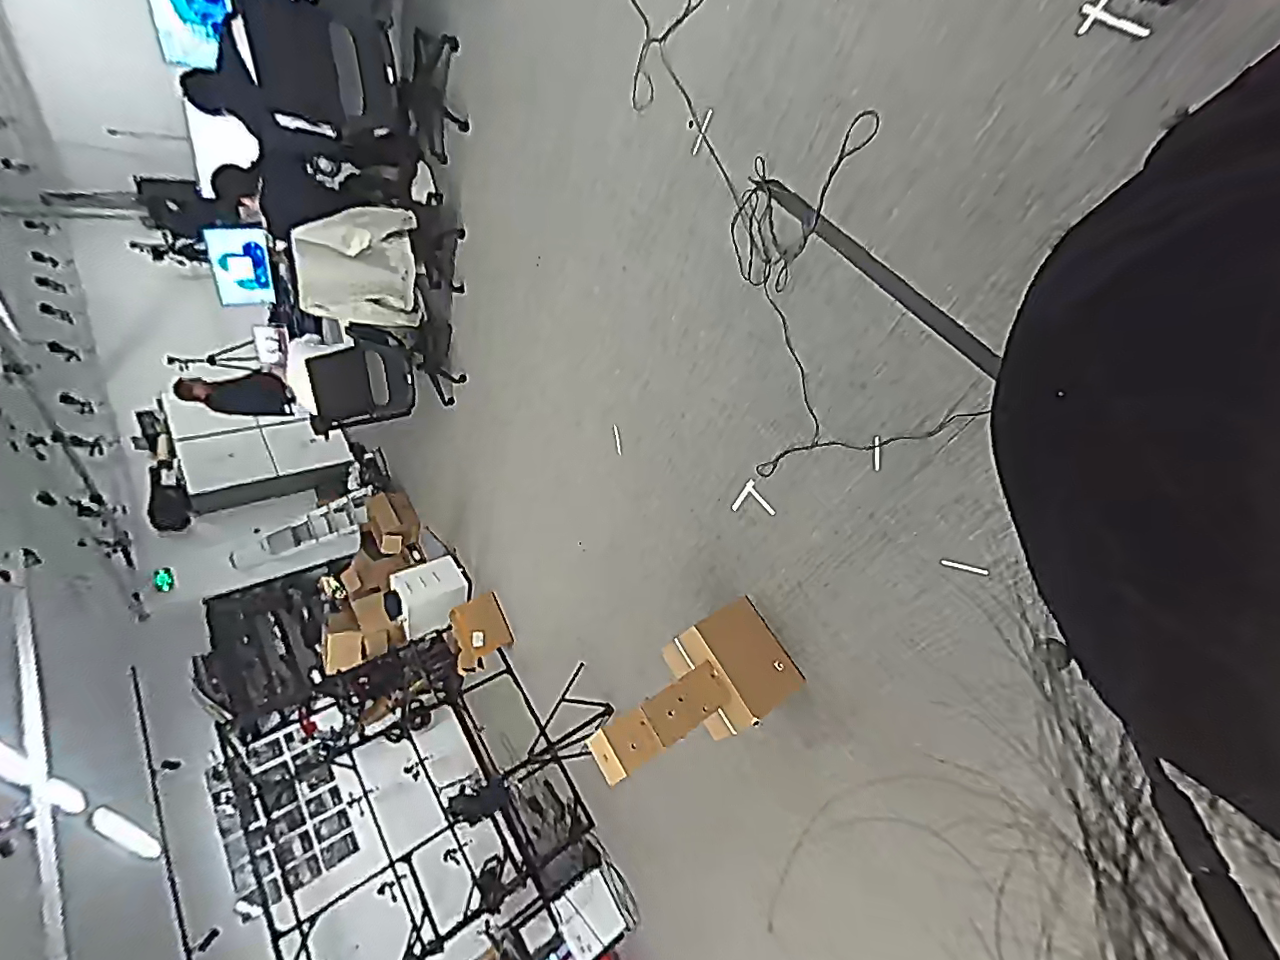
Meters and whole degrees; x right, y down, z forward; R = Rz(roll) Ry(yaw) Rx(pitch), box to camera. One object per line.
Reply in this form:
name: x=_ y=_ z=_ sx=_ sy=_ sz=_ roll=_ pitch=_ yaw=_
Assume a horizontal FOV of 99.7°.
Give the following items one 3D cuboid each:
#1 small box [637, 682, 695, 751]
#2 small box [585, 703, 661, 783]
small box: x=0.071 y=0.848 z=1.926 sx=0.168 sy=0.176 sz=0.179 roll=56 pitch=140 yaw=20
small box: x=-0.054 y=0.887 z=1.829 sx=0.168 sy=0.176 sz=0.179 roll=54 pitch=141 yaw=21
